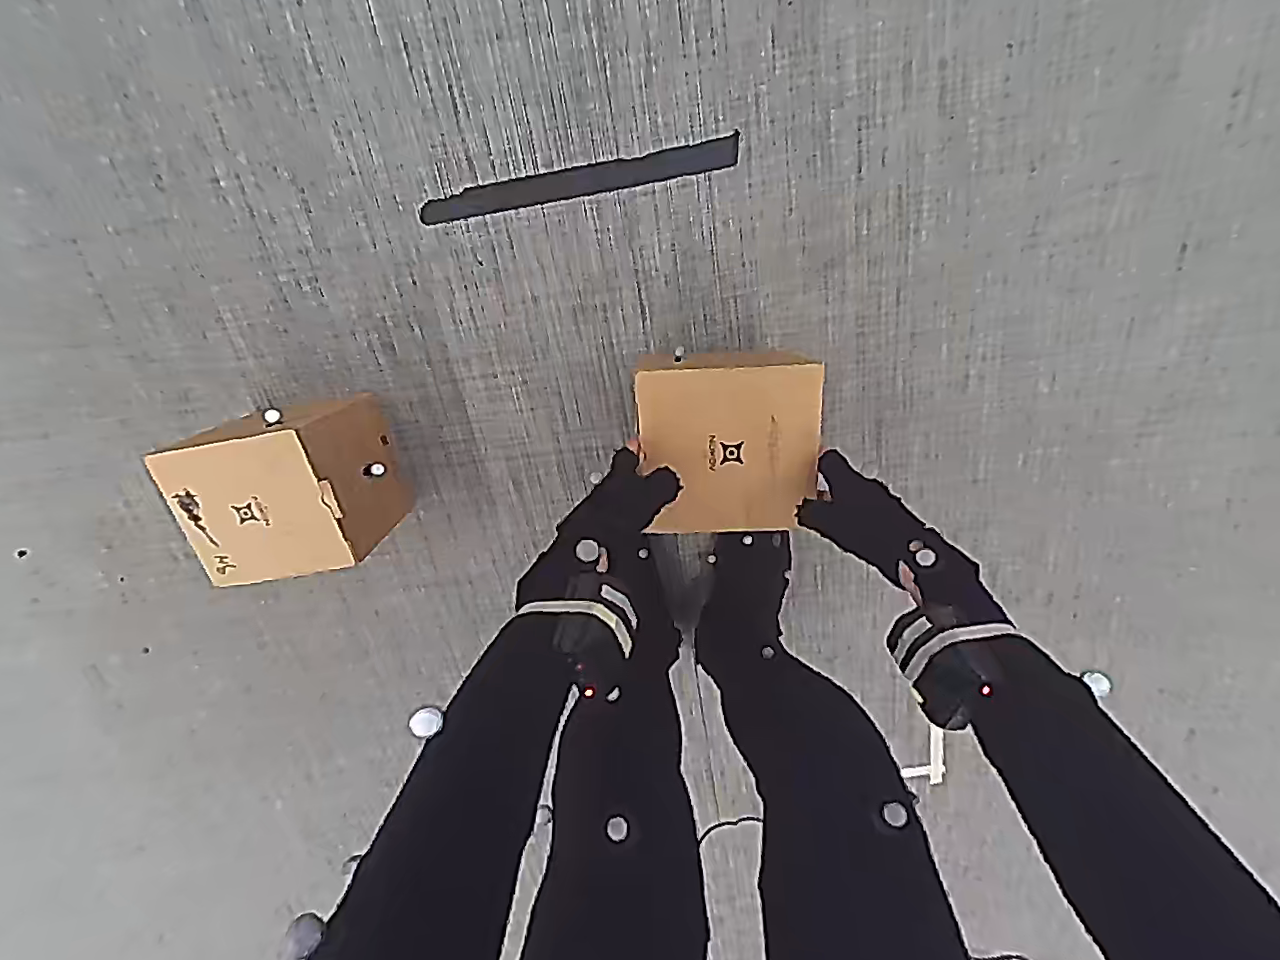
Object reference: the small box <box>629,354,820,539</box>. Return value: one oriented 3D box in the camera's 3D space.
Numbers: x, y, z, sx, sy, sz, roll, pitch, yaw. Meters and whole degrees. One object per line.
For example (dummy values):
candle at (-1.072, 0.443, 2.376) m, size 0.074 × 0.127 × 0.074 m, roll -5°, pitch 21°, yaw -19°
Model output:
small box at (0.084, -0.045, 0.592) m, size 0.179 × 0.176 × 0.168 m, roll -3°, pitch 109°, yaw 3°

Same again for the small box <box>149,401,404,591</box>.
small box at (-0.414, 0.010, 0.660) m, size 0.179 × 0.176 × 0.168 m, roll -9°, pitch 112°, yaw 4°
